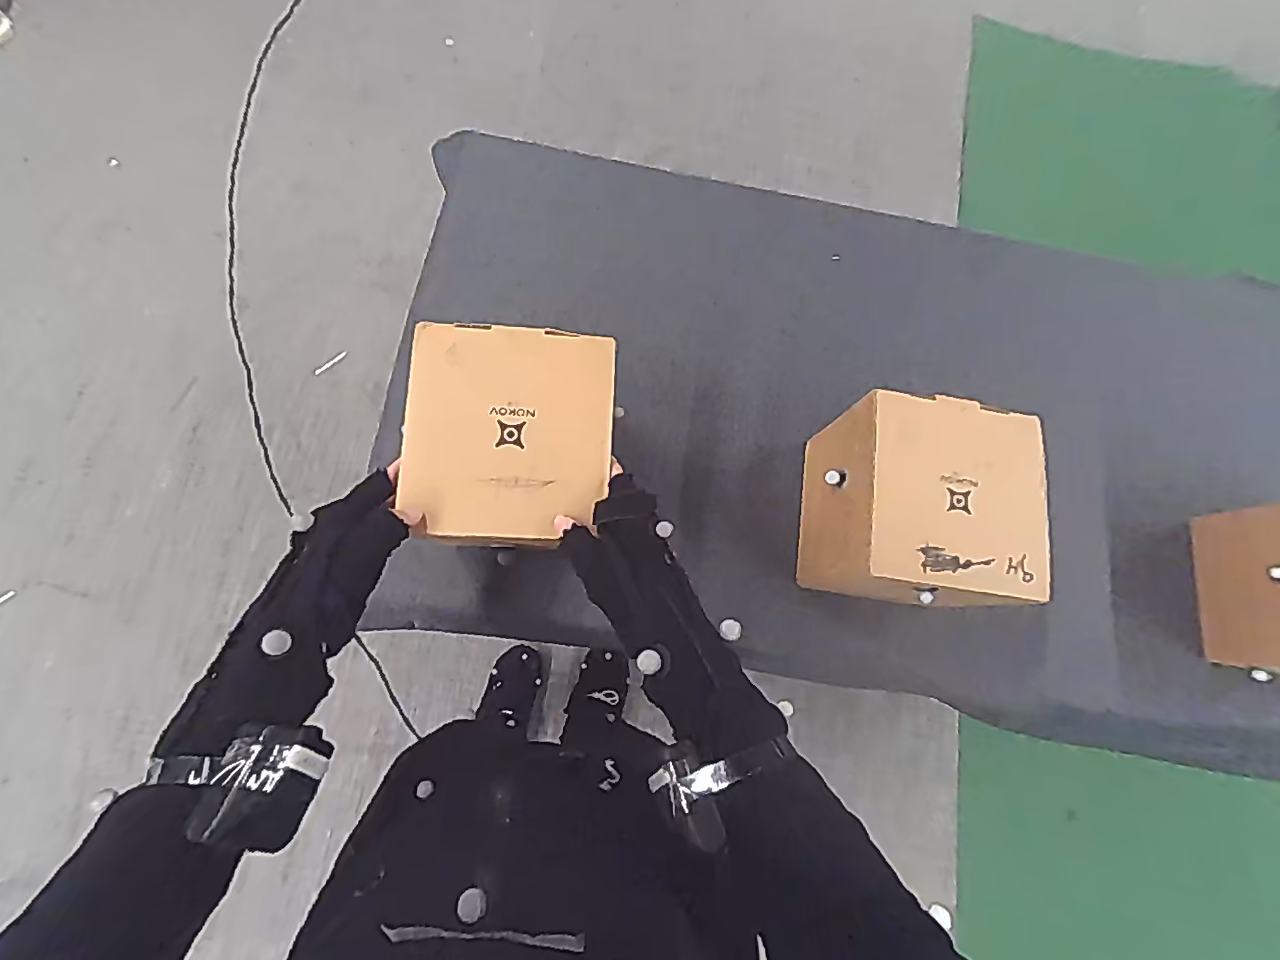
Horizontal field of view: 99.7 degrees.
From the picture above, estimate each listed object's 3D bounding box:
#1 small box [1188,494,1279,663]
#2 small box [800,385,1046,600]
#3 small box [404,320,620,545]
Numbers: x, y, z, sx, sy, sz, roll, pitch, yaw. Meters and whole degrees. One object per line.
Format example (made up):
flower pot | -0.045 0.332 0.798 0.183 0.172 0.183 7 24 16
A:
small box | 0.760 0.115 0.585 0.168 0.176 0.179 9 75 -1
small box | 0.278 0.025 0.567 0.168 0.176 0.179 9 75 -3
small box | -0.111 -0.031 0.521 0.168 0.176 0.179 2 81 -6
